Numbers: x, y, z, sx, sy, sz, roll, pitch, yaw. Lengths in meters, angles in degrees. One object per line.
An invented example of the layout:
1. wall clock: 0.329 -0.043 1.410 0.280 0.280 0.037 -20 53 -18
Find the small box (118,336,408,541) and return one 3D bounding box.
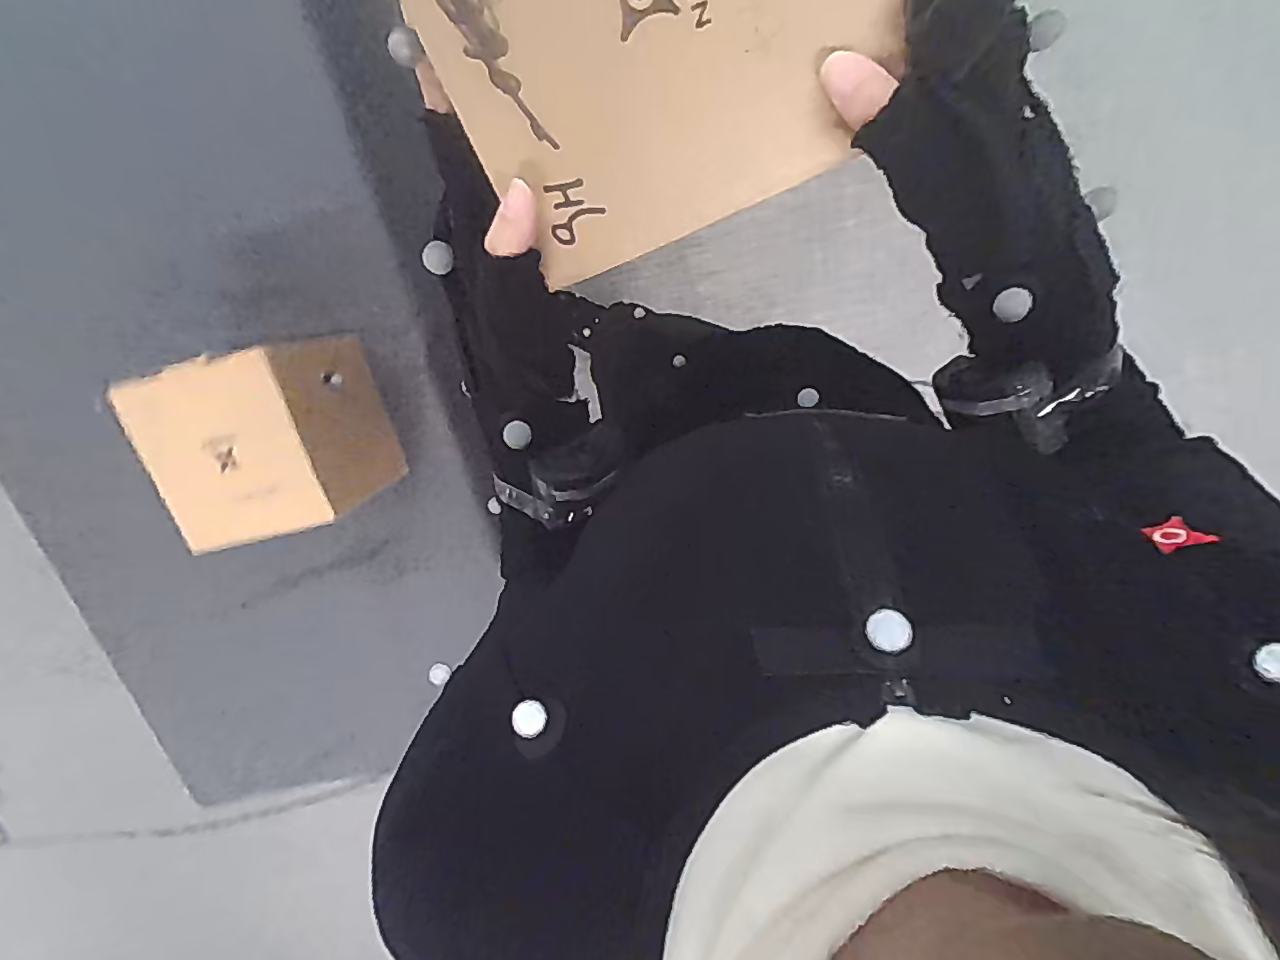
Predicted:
1. small box: -0.397 -0.058 0.608 0.168 0.176 0.179 -13 109 8
